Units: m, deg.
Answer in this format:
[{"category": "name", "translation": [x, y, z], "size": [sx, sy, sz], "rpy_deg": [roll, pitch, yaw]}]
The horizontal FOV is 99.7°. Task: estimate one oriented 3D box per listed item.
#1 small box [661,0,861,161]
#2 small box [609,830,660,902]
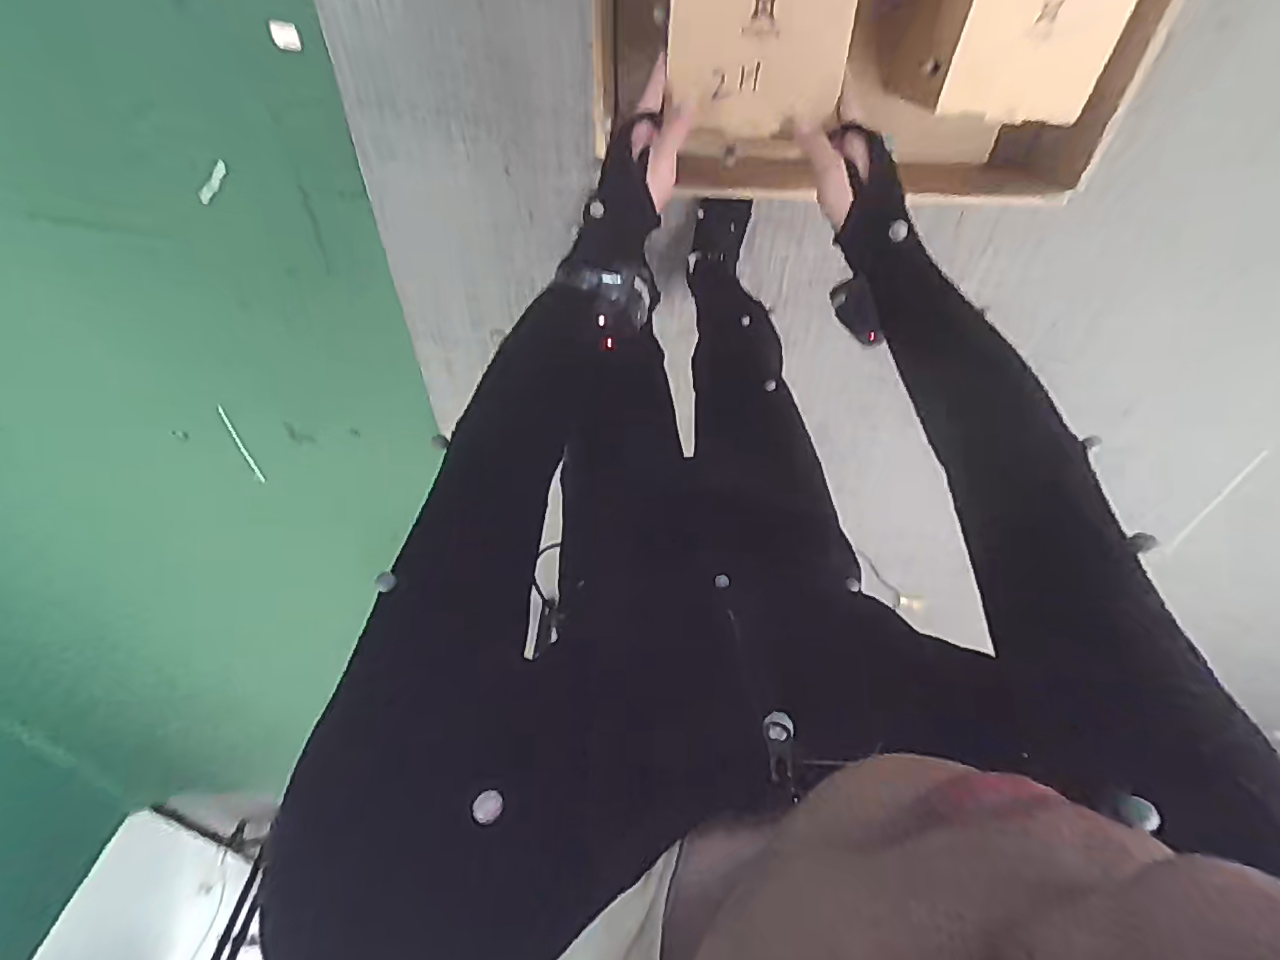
[{"category": "small box", "translation": [0.111, -0.442, 0.550], "size": [0.168, 0.176, 0.179], "rpy_deg": [4, 115, 0]}, {"category": "small box", "translation": [-0.015, 1.329, 1.860], "size": [0.168, 0.176, 0.179], "rpy_deg": [-1, 131, 2]}]
